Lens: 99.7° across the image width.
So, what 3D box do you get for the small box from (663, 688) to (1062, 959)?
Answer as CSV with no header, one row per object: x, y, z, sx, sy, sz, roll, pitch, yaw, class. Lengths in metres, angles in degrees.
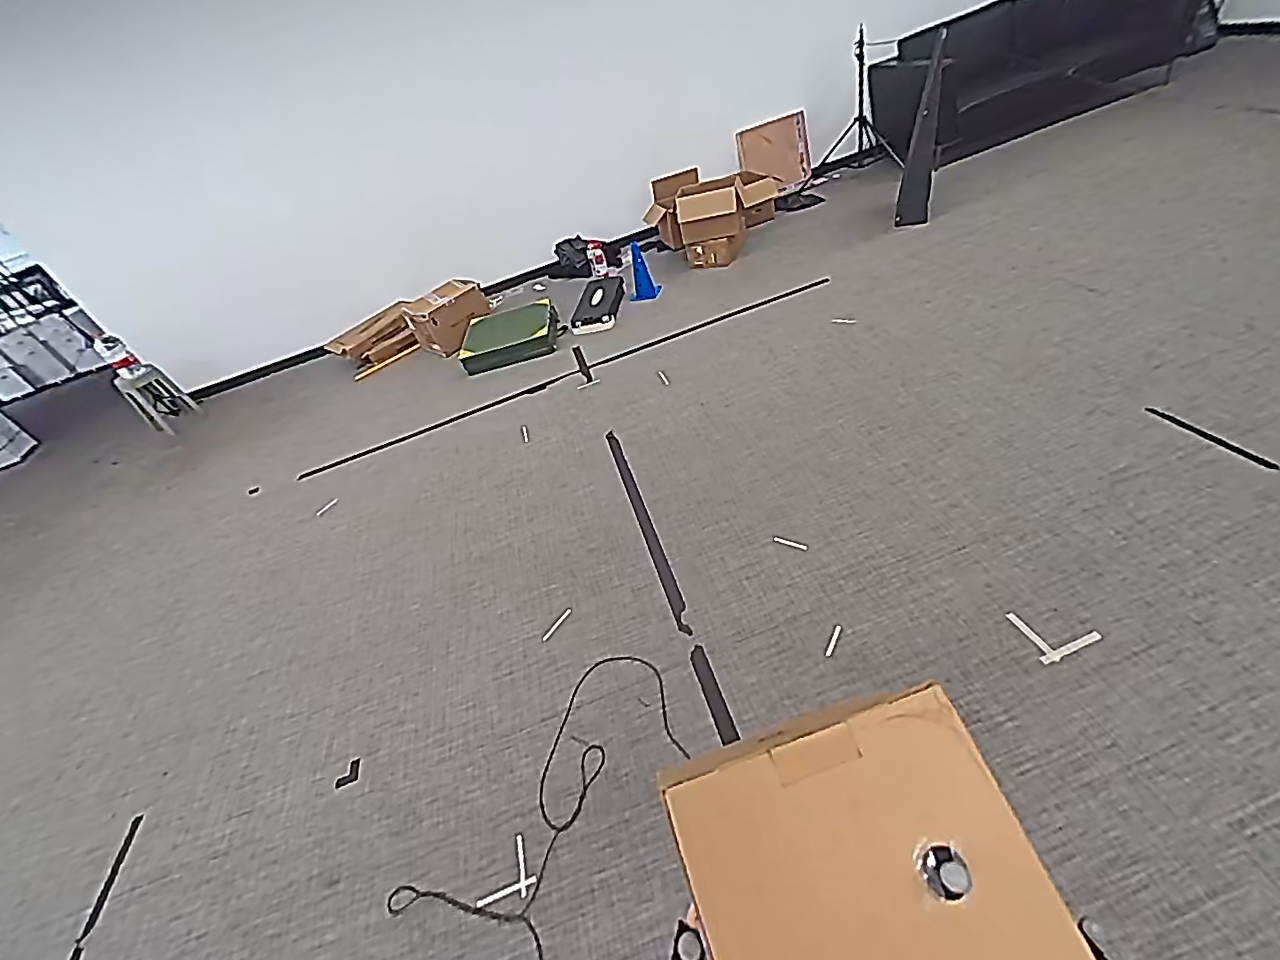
0.119,0.252,0.344,0.168,0.179,0.176,-17,65,-7,small box
